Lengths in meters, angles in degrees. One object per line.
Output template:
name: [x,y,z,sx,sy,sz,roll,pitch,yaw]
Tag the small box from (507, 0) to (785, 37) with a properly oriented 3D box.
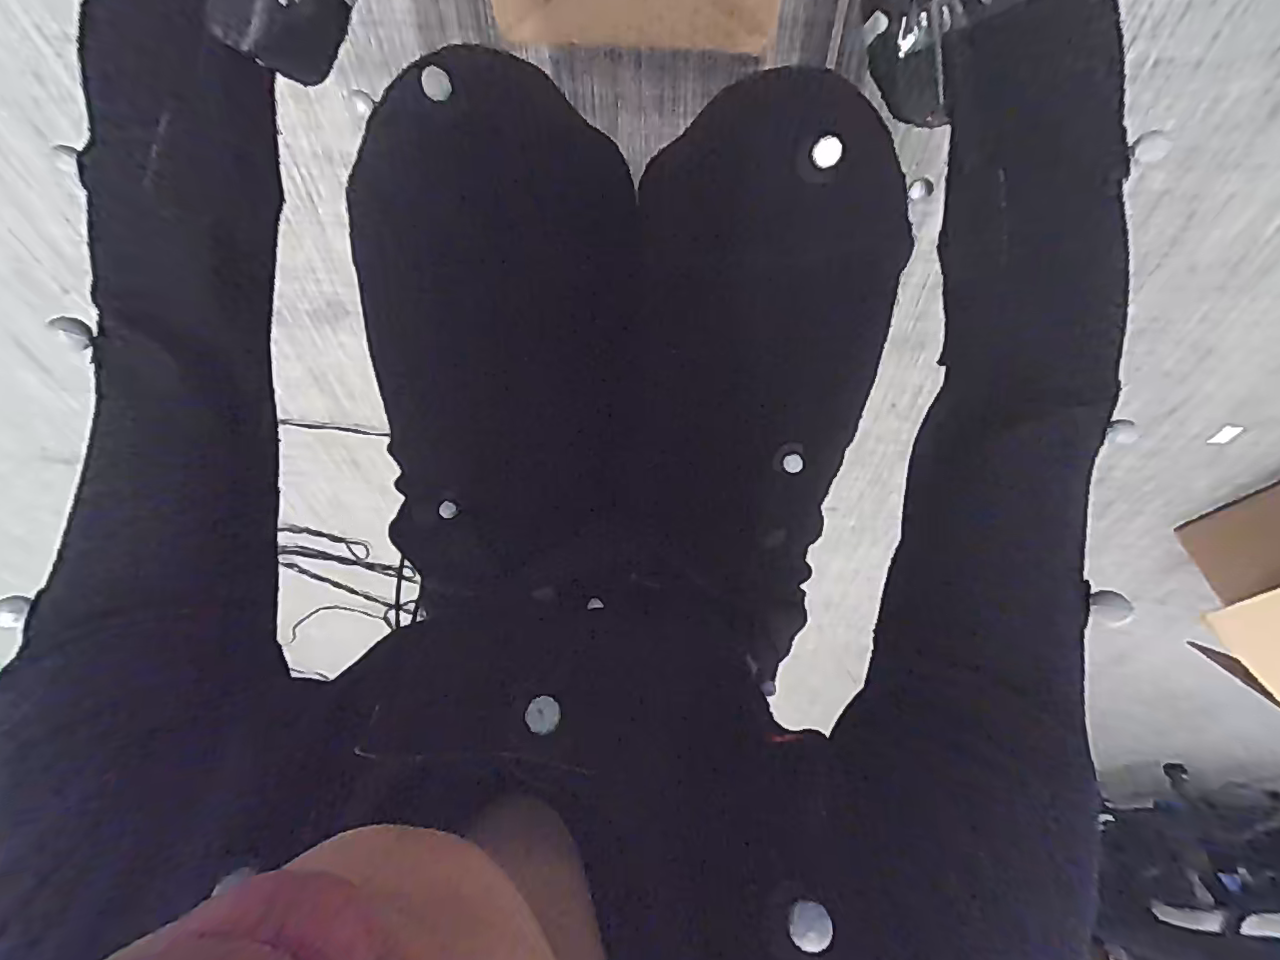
small box: [0.008,-0.384,0.296,0.179,0.176,0.168,4,158,1]
